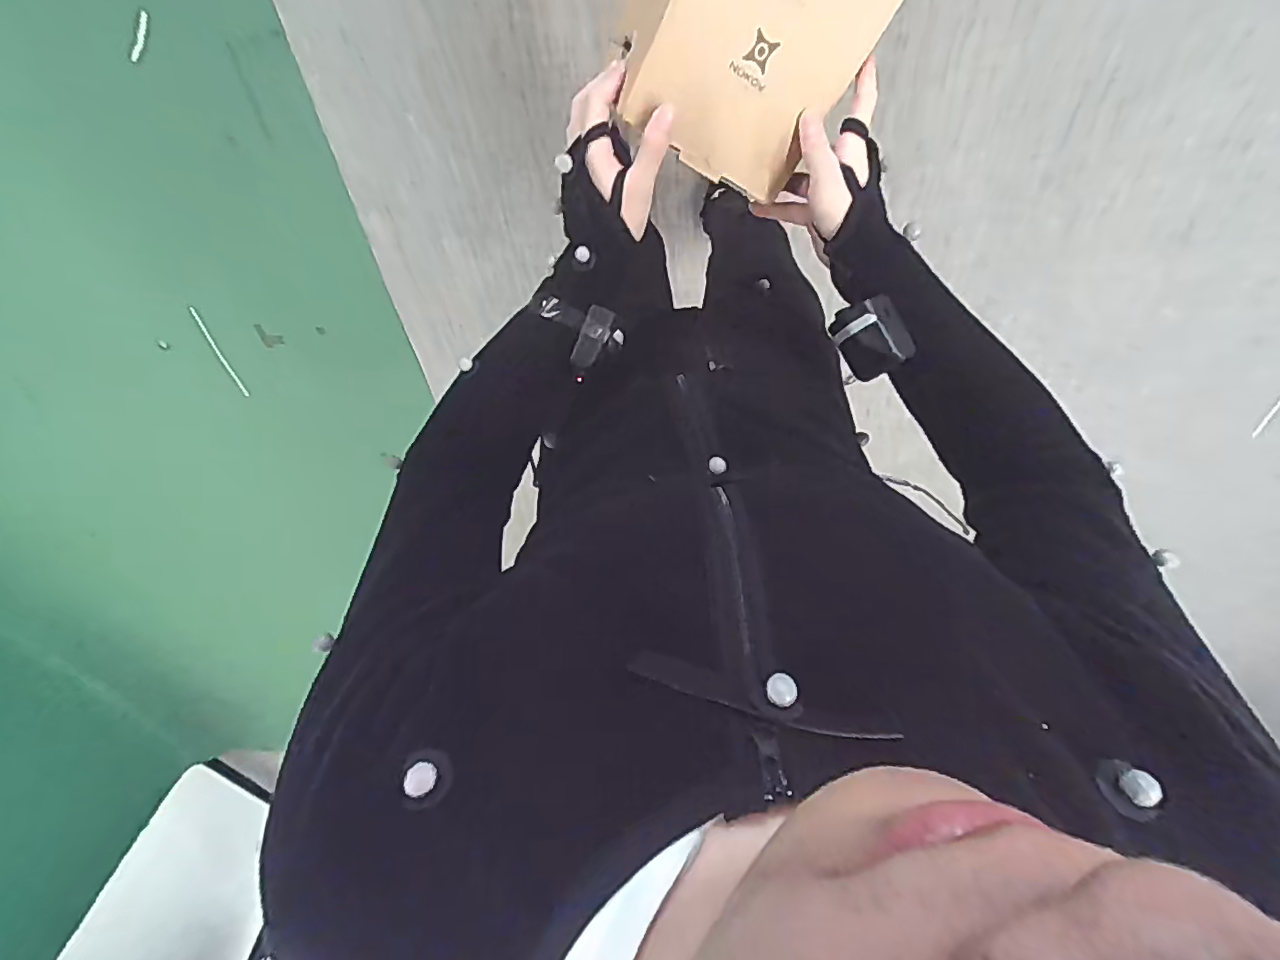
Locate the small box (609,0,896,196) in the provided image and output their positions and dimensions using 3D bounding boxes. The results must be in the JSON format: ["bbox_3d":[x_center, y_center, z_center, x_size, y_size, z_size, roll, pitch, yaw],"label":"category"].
[{"bbox_3d":[0.082,-0.406,0.493,0.168,0.176,0.179,17,128,-28],"label":"small box"}]
